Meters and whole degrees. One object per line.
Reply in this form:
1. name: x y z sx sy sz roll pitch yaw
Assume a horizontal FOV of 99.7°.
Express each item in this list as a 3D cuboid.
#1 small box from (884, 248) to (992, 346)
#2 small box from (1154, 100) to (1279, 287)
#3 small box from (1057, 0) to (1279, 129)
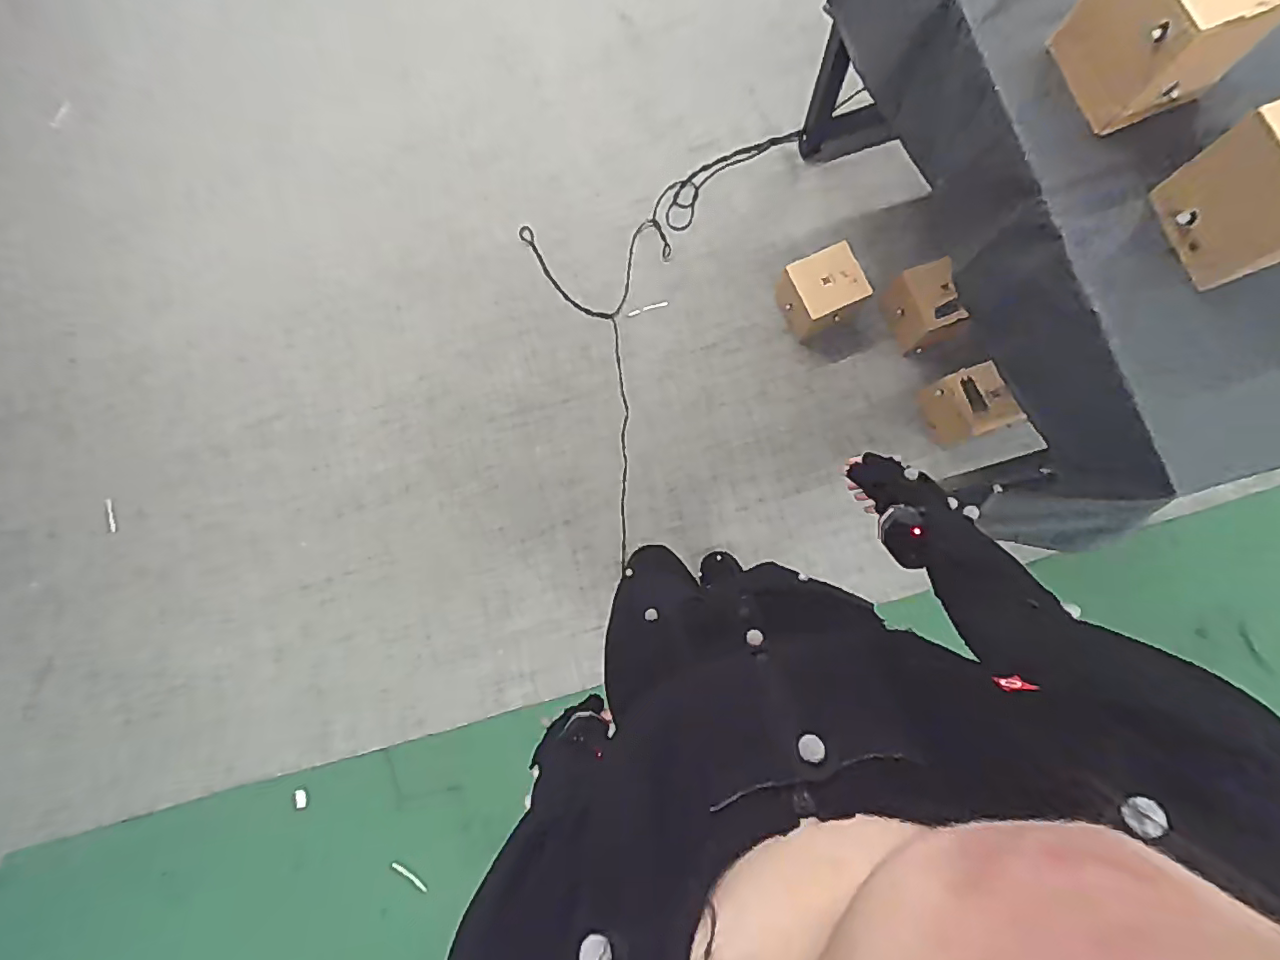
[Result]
1. small box: 0.788 -0.479 1.448 0.168 0.176 0.179 -19 81 2
2. small box: 0.849 -0.383 0.702 0.179 0.176 0.168 -19 82 2
3. small box: 0.730 -0.637 0.740 0.168 0.176 0.179 -22 83 1
